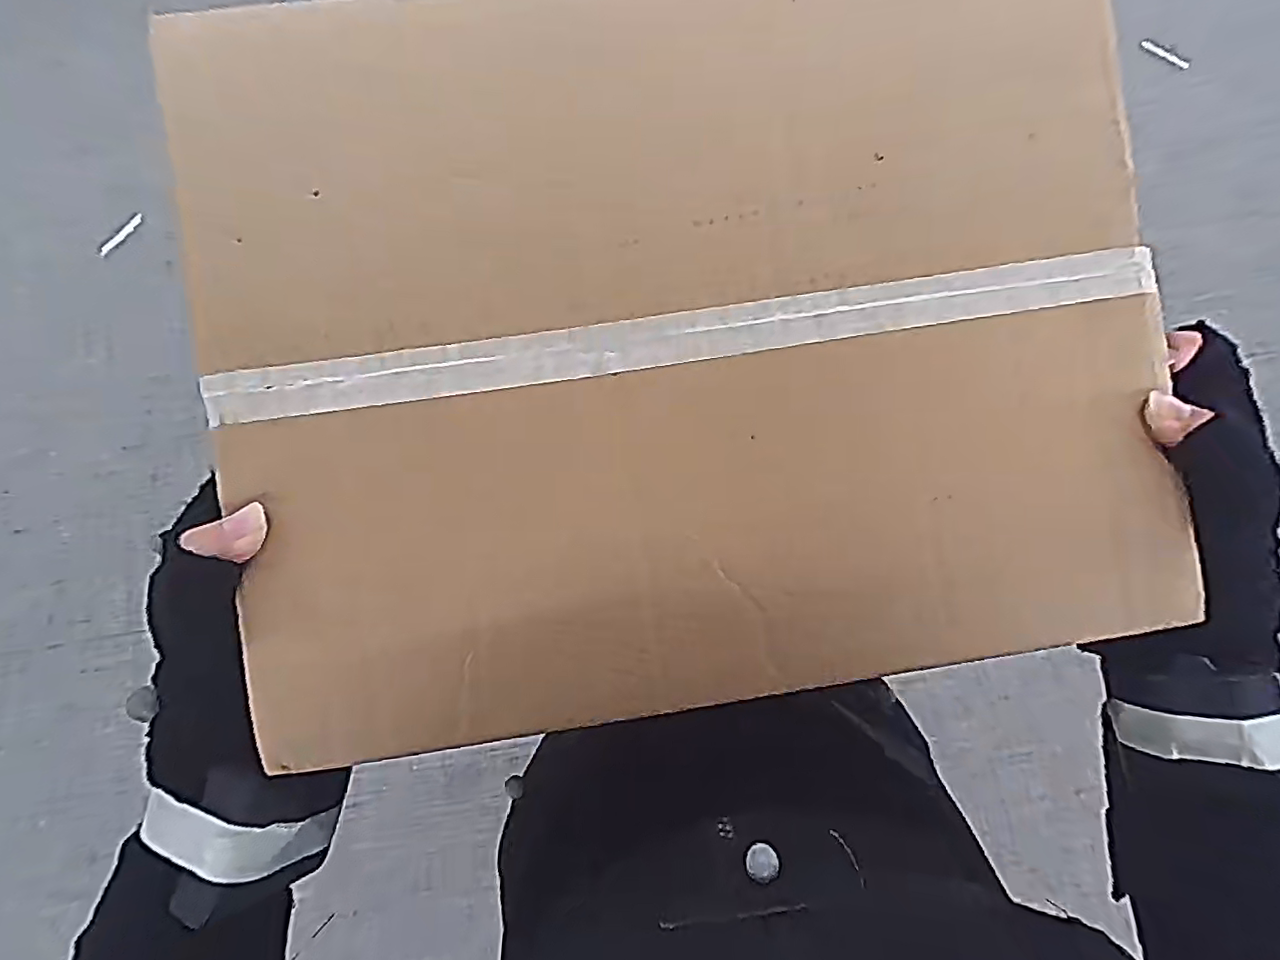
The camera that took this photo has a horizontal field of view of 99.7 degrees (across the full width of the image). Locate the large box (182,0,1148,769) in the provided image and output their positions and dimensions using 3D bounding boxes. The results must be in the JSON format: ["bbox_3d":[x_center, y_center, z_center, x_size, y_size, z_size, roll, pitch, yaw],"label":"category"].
[{"bbox_3d":[0.015,-0.057,0.391,0.408,0.320,0.320,-9,90,-2],"label":"large box"}]
